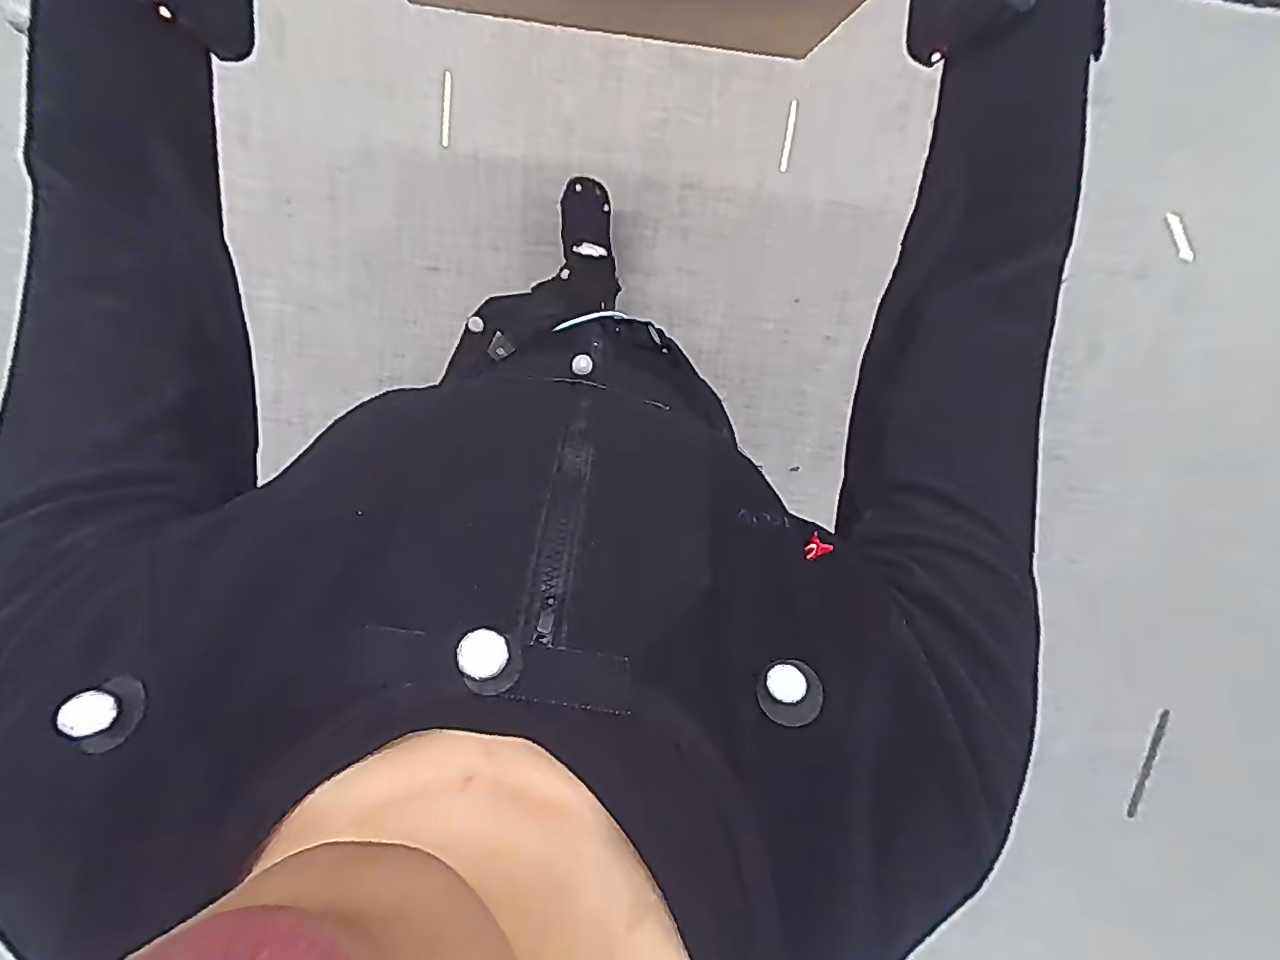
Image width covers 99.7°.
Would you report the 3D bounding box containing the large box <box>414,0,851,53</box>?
[{"bbox_3d":[-0.012,-0.532,0.359,0.408,0.320,0.320,5,117,-3],"label":"large box"}]
